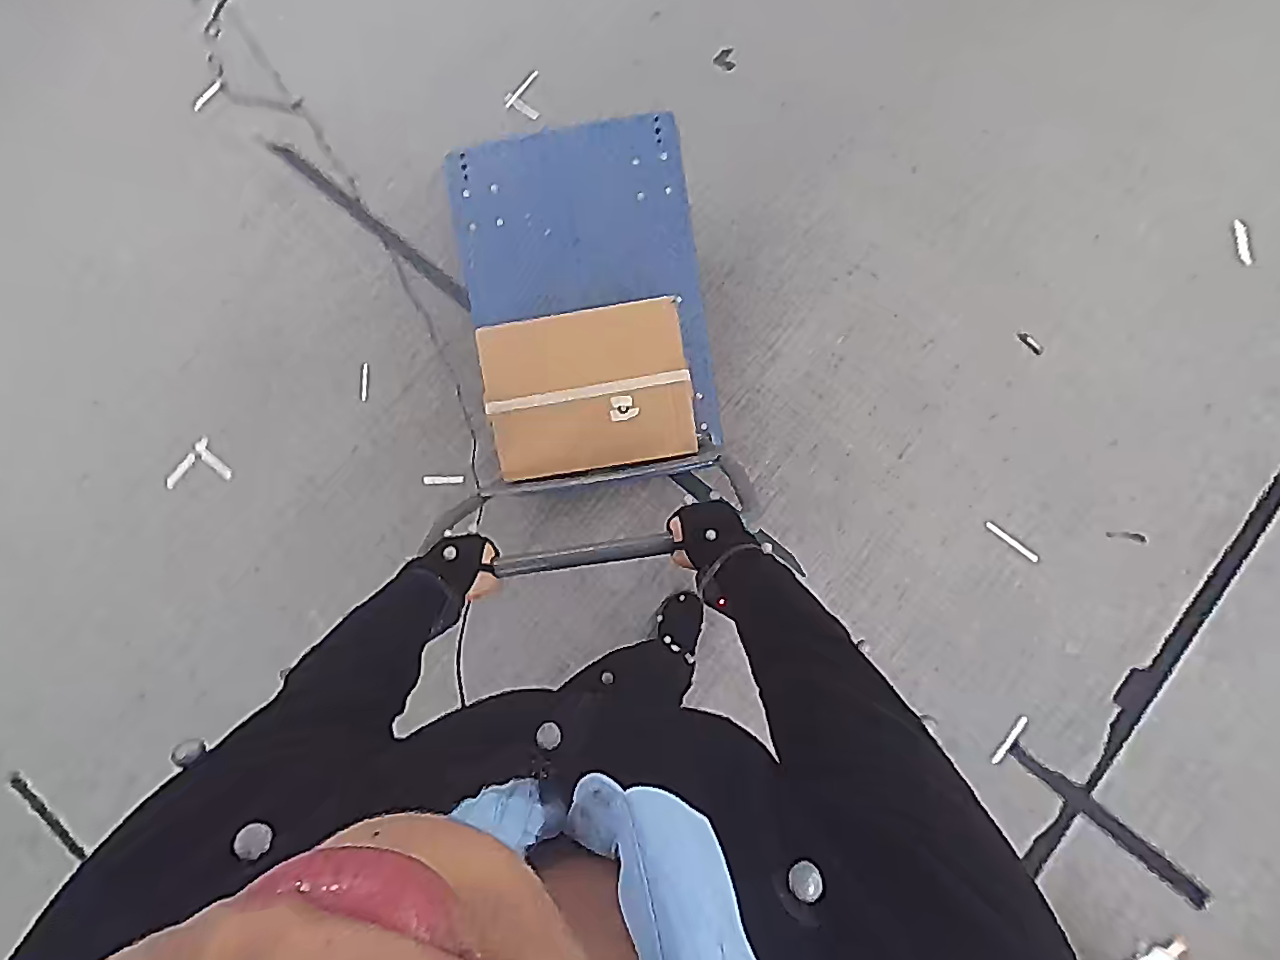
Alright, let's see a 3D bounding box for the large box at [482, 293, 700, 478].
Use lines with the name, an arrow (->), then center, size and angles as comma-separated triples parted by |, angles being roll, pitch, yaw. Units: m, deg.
large box -> -0.097, -0.202, 1.239 | 0.408, 0.320, 0.320 | -10, 97, 1
